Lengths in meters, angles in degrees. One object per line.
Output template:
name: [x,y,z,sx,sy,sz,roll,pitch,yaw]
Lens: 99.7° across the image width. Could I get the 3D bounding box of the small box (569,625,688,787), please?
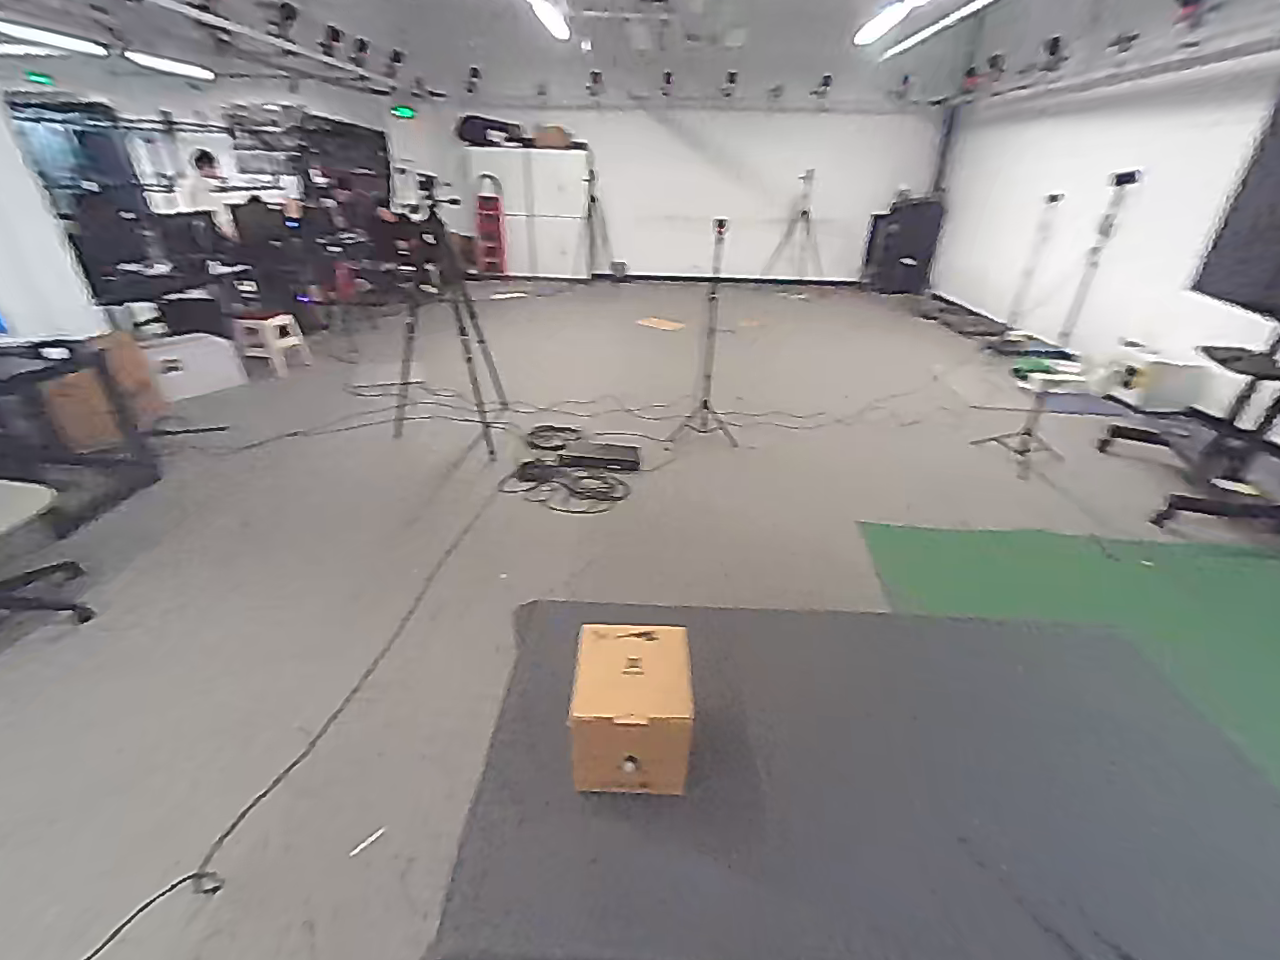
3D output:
small box: [-0.013,0.348,0.839,0.168,0.176,0.179,1,30,0]
